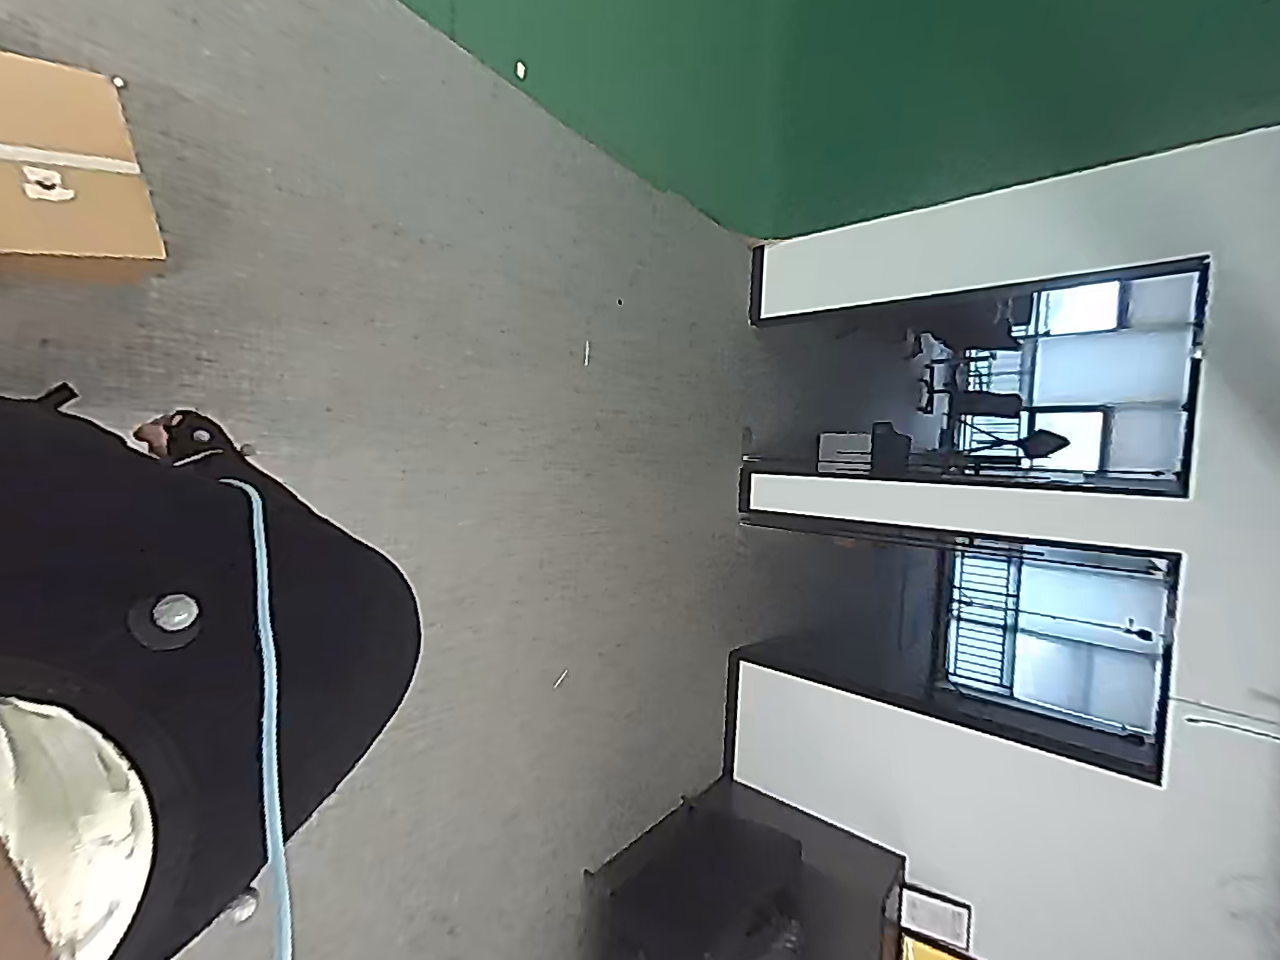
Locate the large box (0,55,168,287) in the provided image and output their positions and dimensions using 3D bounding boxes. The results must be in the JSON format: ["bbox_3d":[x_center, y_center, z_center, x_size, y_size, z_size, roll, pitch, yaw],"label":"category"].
[{"bbox_3d":[-1.167,-0.528,0.955,0.408,0.320,0.320,-23,110,-48],"label":"large box"}]
